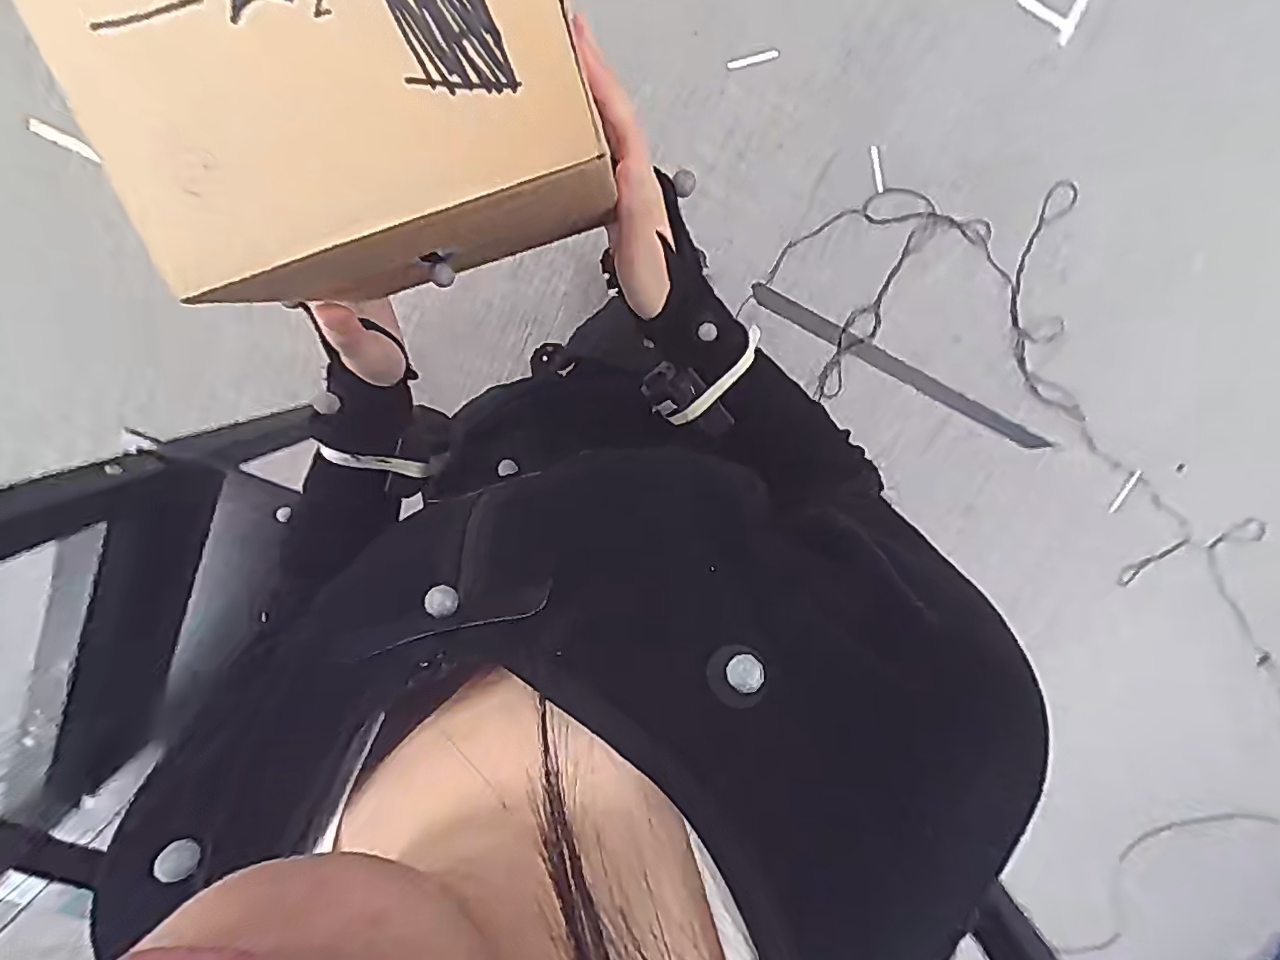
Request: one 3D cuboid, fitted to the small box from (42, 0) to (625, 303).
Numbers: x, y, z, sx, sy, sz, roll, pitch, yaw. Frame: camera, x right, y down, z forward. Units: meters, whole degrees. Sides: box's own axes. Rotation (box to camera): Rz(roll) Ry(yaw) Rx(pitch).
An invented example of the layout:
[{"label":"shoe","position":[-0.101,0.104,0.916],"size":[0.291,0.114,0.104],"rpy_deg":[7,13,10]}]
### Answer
[{"label":"small box","position":[-0.110,-0.190,0.253],"size":[0.179,0.176,0.168],"rpy_deg":[-15,108,6]}]
